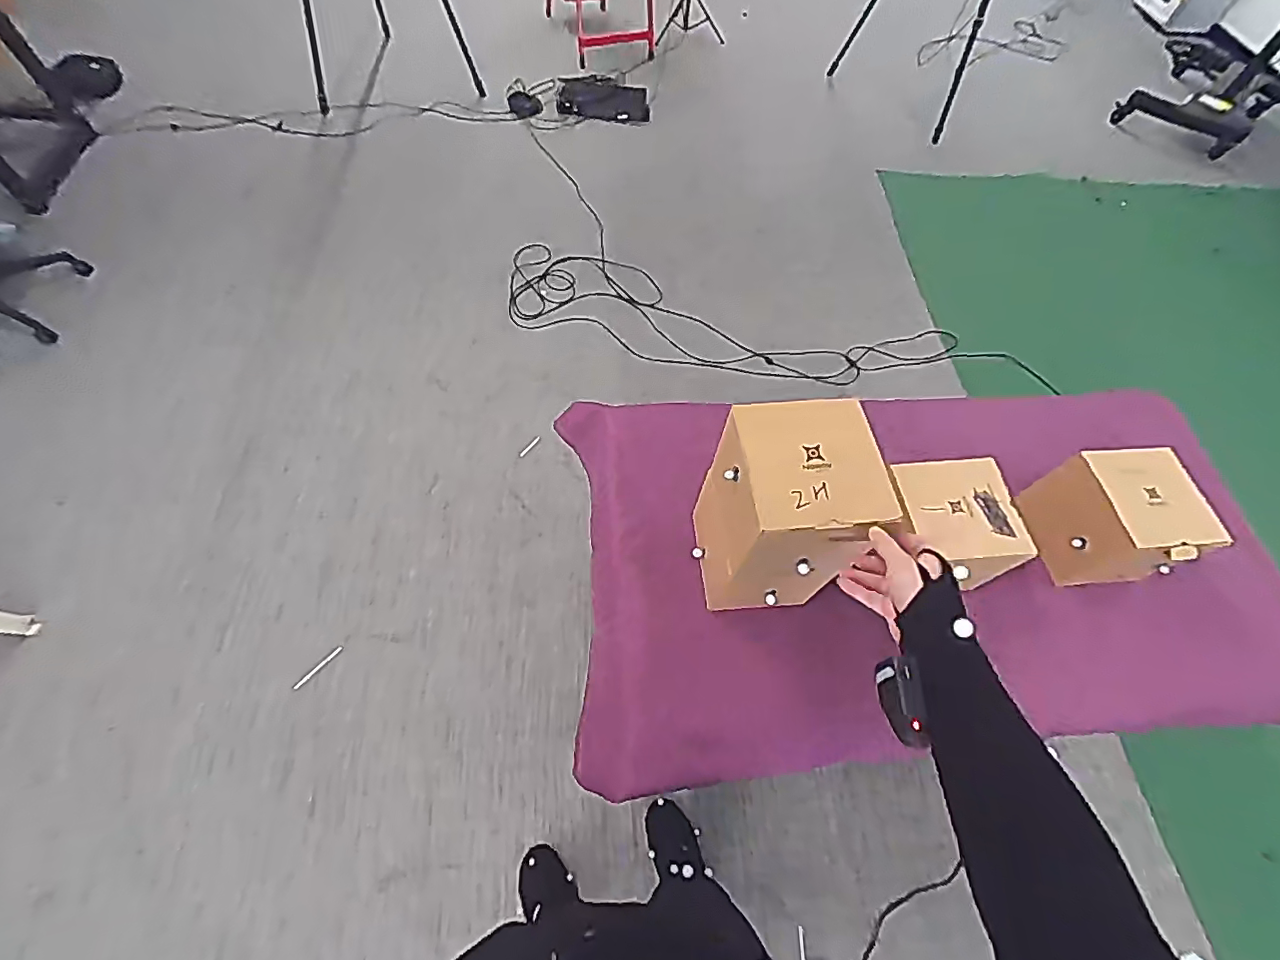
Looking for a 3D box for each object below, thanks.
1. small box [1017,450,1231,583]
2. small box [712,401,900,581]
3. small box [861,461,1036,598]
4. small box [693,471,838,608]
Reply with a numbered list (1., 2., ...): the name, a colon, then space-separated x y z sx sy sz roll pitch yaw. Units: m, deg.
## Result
1. small box: 0.792 0.068 0.911 0.168 0.176 0.179 -2 60 -6
2. small box: 0.197 0.018 0.705 0.168 0.176 0.179 -4 62 -5
3. small box: 0.474 0.085 0.877 0.179 0.176 0.168 -4 61 -5
4. small box: 0.184 0.097 0.849 0.168 0.176 0.179 -3 61 -7
